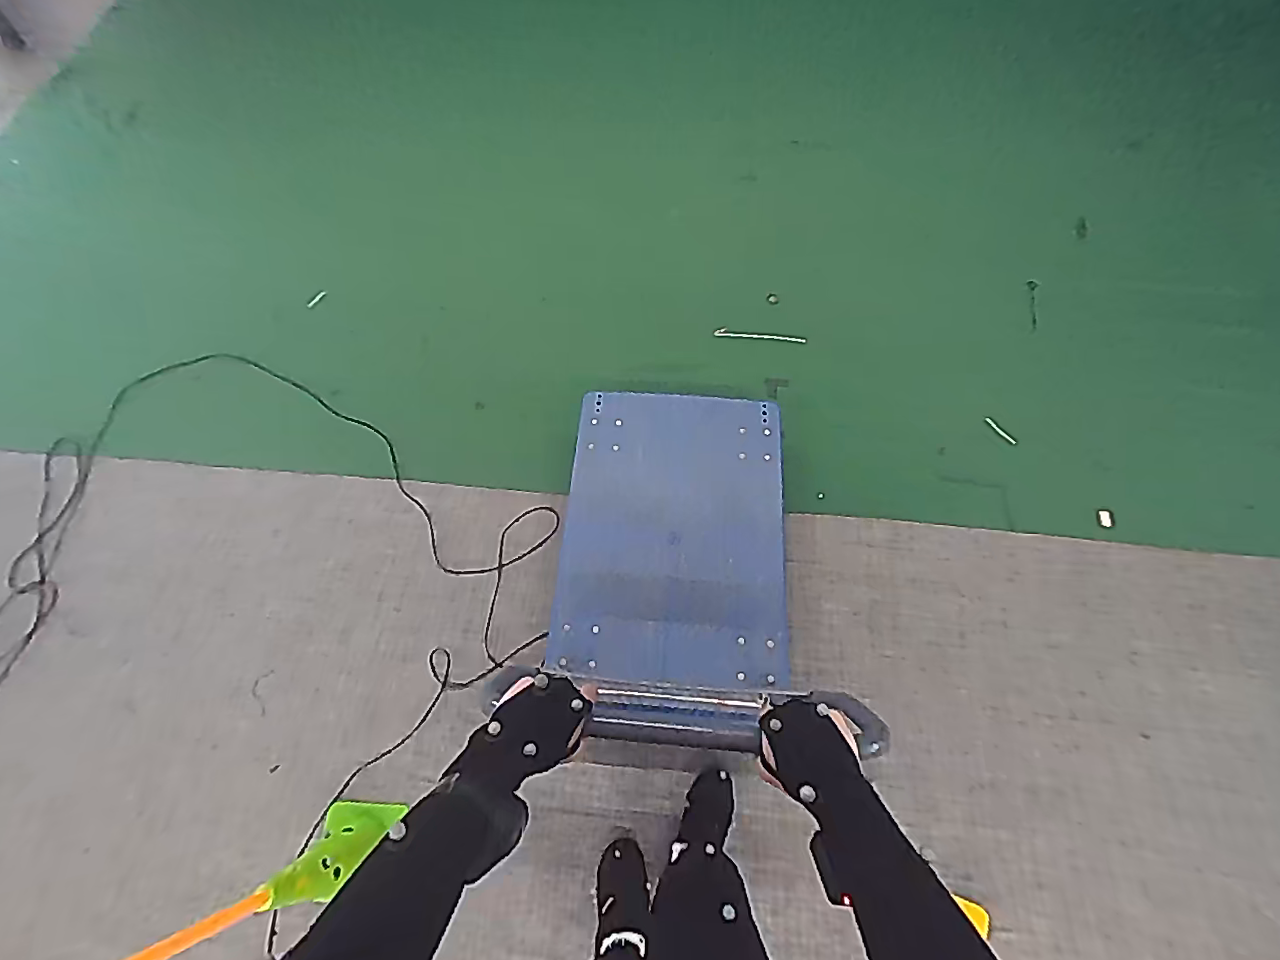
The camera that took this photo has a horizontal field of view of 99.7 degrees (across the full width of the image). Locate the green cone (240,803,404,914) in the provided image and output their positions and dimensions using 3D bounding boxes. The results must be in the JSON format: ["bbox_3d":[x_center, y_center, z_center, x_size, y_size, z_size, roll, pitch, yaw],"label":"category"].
[{"bbox_3d":[-0.672,0.807,1.114,0.202,0.368,0.200,0,66,3],"label":"green cone"}]
